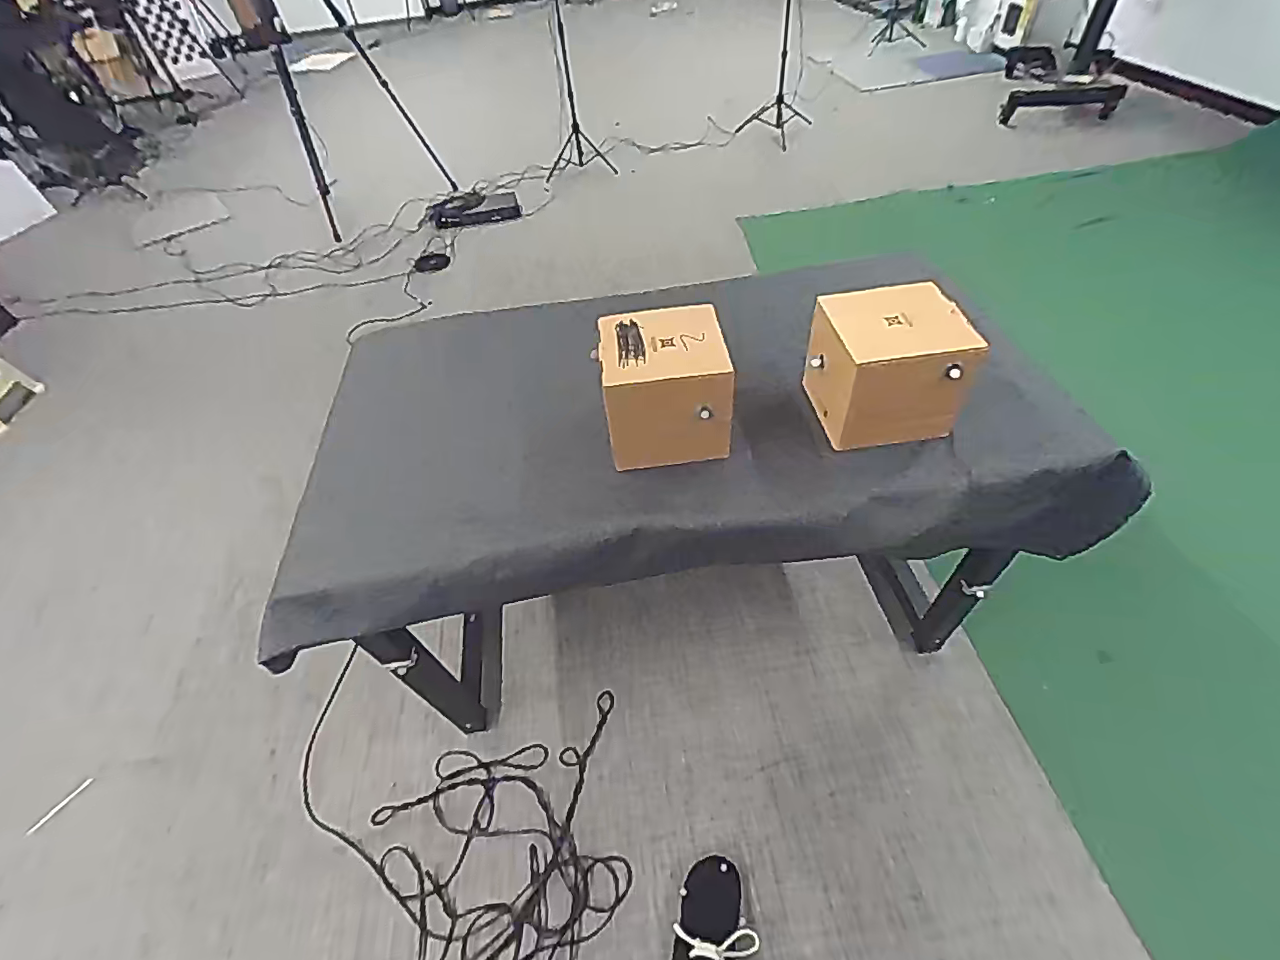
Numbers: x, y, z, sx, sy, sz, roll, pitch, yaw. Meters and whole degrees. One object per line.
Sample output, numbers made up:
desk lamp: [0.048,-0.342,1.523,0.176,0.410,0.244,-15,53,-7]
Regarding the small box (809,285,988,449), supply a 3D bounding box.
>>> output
small box: [0.361,-0.163,0.802,0.179,0.176,0.168,-8,49,0]
